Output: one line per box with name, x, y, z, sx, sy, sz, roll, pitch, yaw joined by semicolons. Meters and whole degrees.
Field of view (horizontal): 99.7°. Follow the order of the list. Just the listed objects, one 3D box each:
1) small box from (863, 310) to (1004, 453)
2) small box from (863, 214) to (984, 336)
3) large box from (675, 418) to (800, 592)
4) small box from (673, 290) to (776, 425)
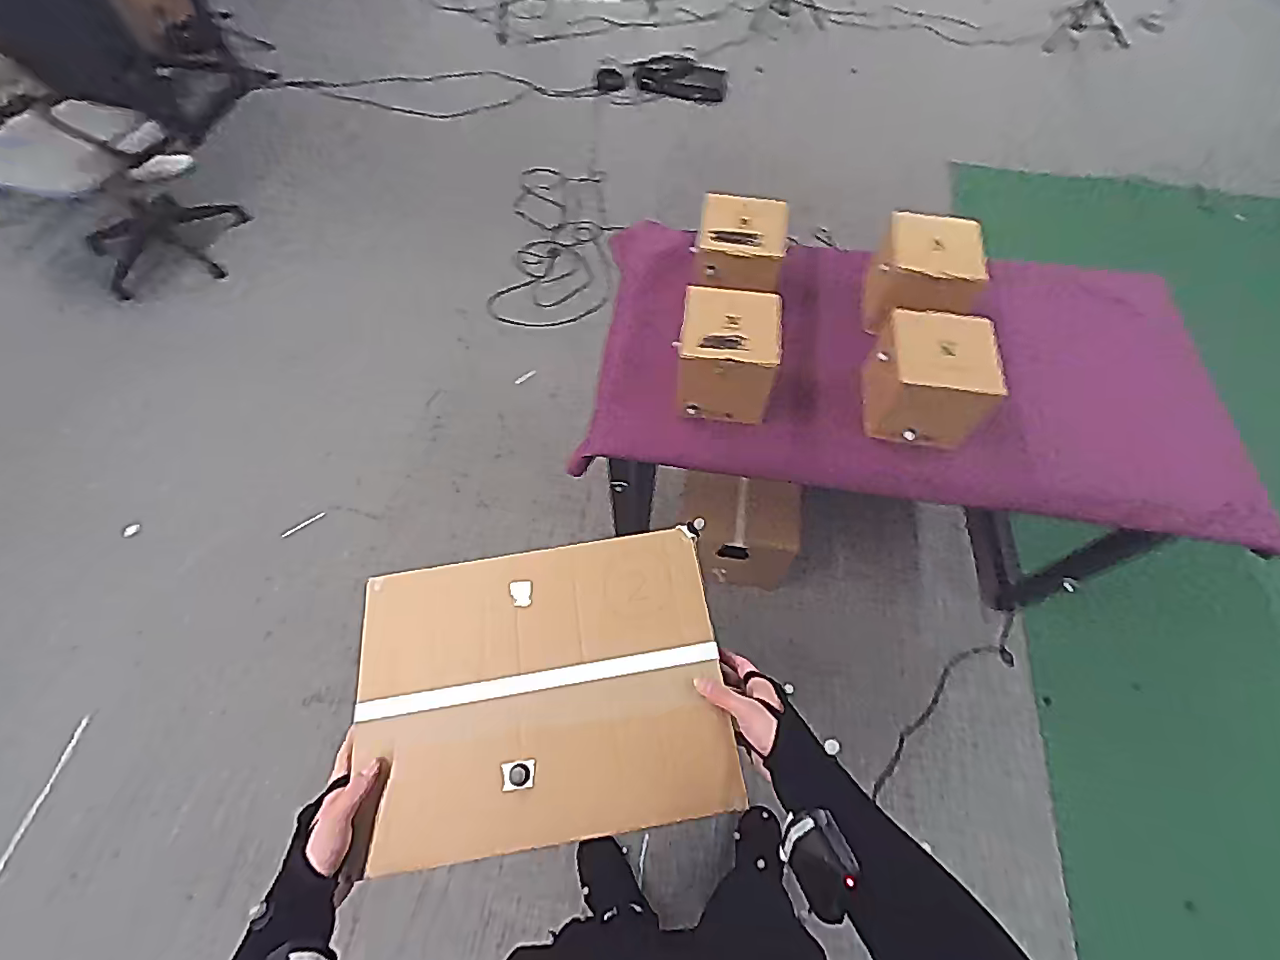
small box;0.511;-0.175;0.973;0.168;0.176;0.179;8;60;6
small box;0.567;-0.408;1.107;0.168;0.176;0.179;9;62;5
large box;0.276;0.080;1.592;0.320;0.320;0.408;7;59;4
small box;0.153;-0.221;1.001;0.168;0.176;0.179;7;59;4
